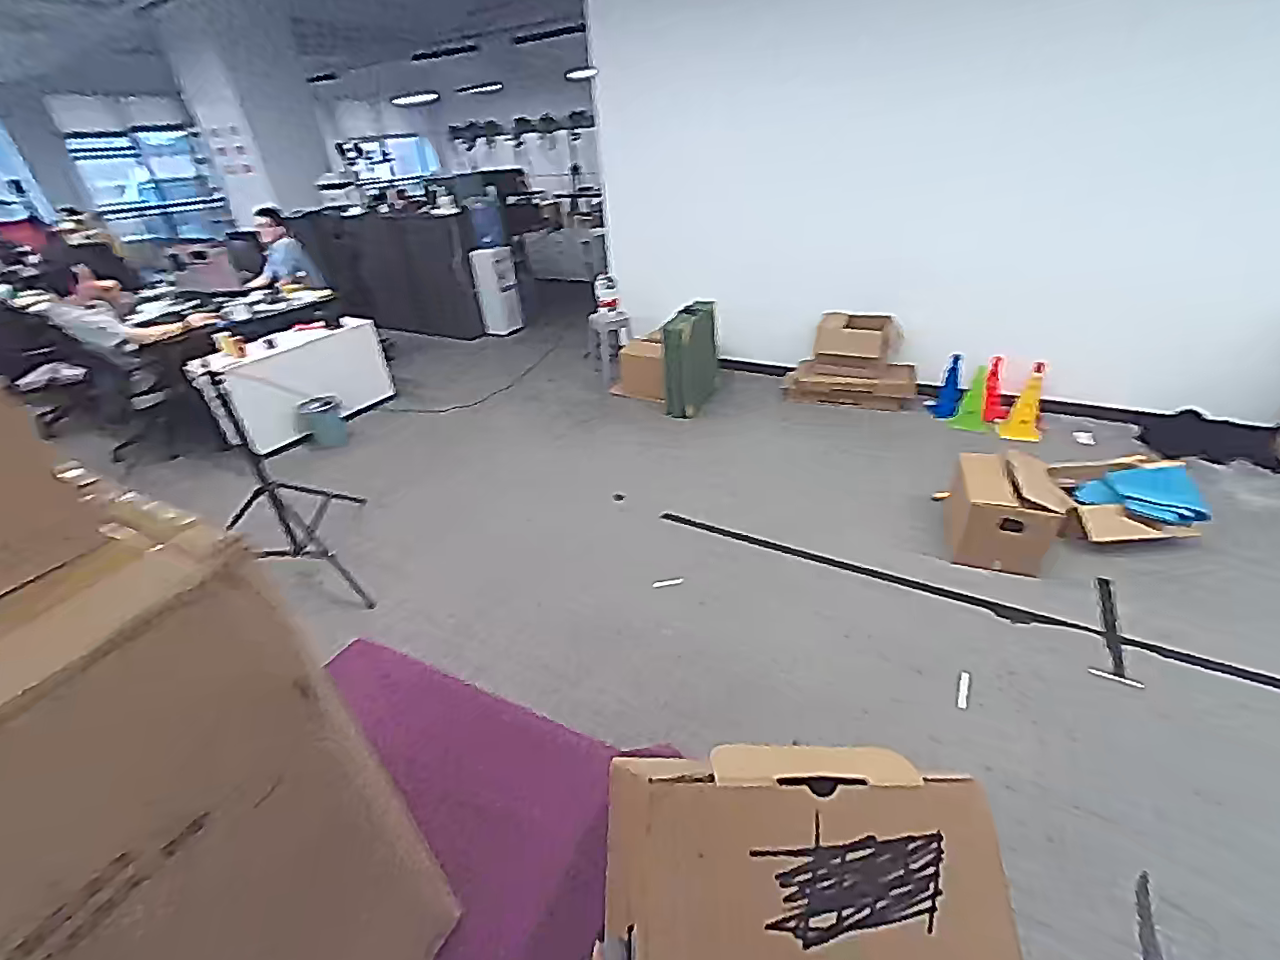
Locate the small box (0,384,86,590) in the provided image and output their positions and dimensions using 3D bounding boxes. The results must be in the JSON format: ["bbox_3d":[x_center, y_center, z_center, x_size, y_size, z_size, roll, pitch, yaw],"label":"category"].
[{"bbox_3d":[-0.482,-0.003,0.307,0.168,0.176,0.179,13,36,25],"label":"small box"}]
